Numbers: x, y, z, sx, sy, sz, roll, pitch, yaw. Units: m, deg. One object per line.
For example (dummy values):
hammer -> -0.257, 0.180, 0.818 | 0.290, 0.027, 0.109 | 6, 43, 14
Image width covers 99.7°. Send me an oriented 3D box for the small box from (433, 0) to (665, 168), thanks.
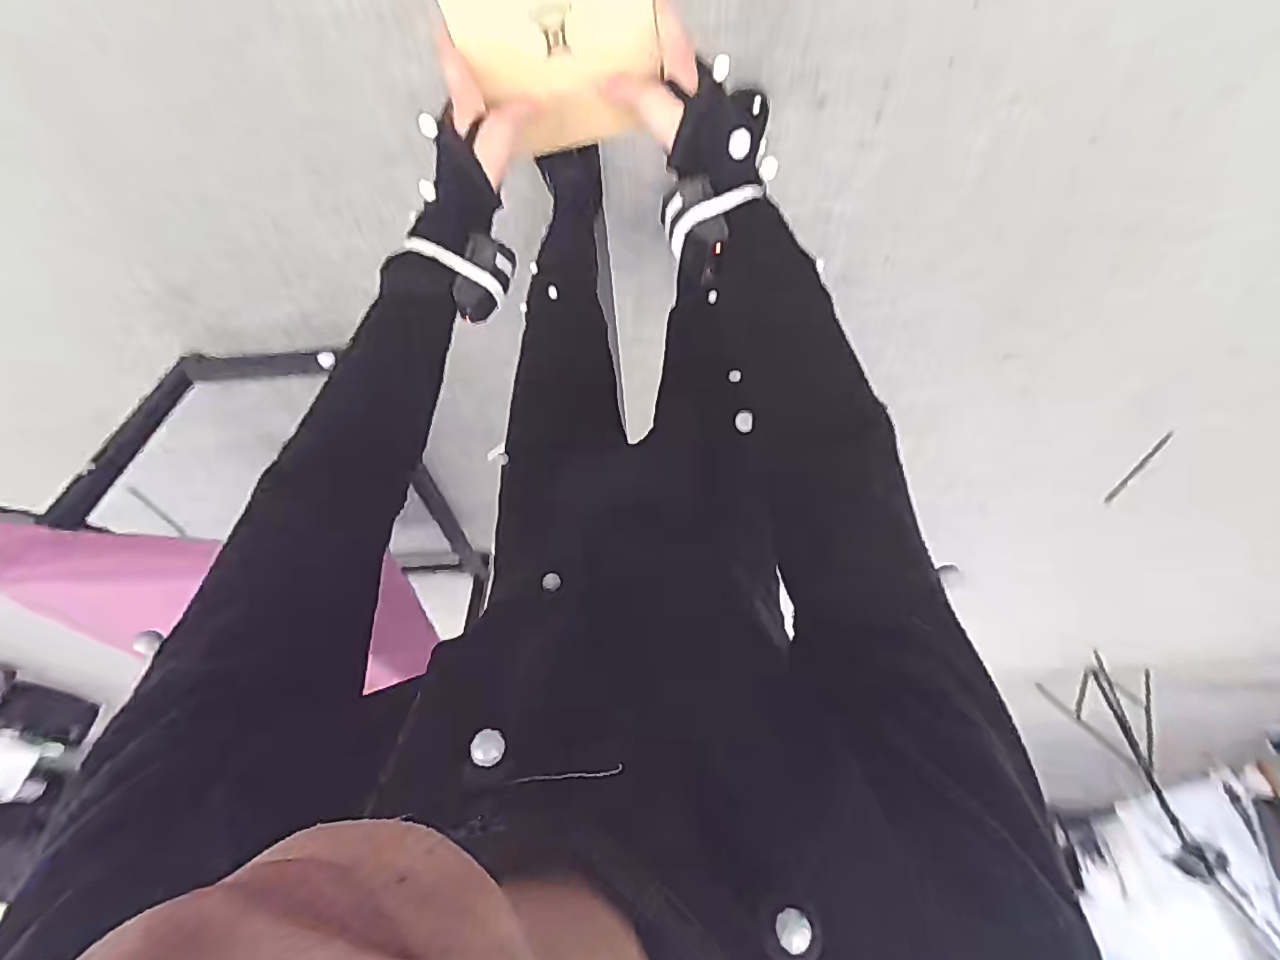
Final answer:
small box -> -0.074, -0.417, 0.473 | 0.168, 0.176, 0.179 | -9, 147, 6
